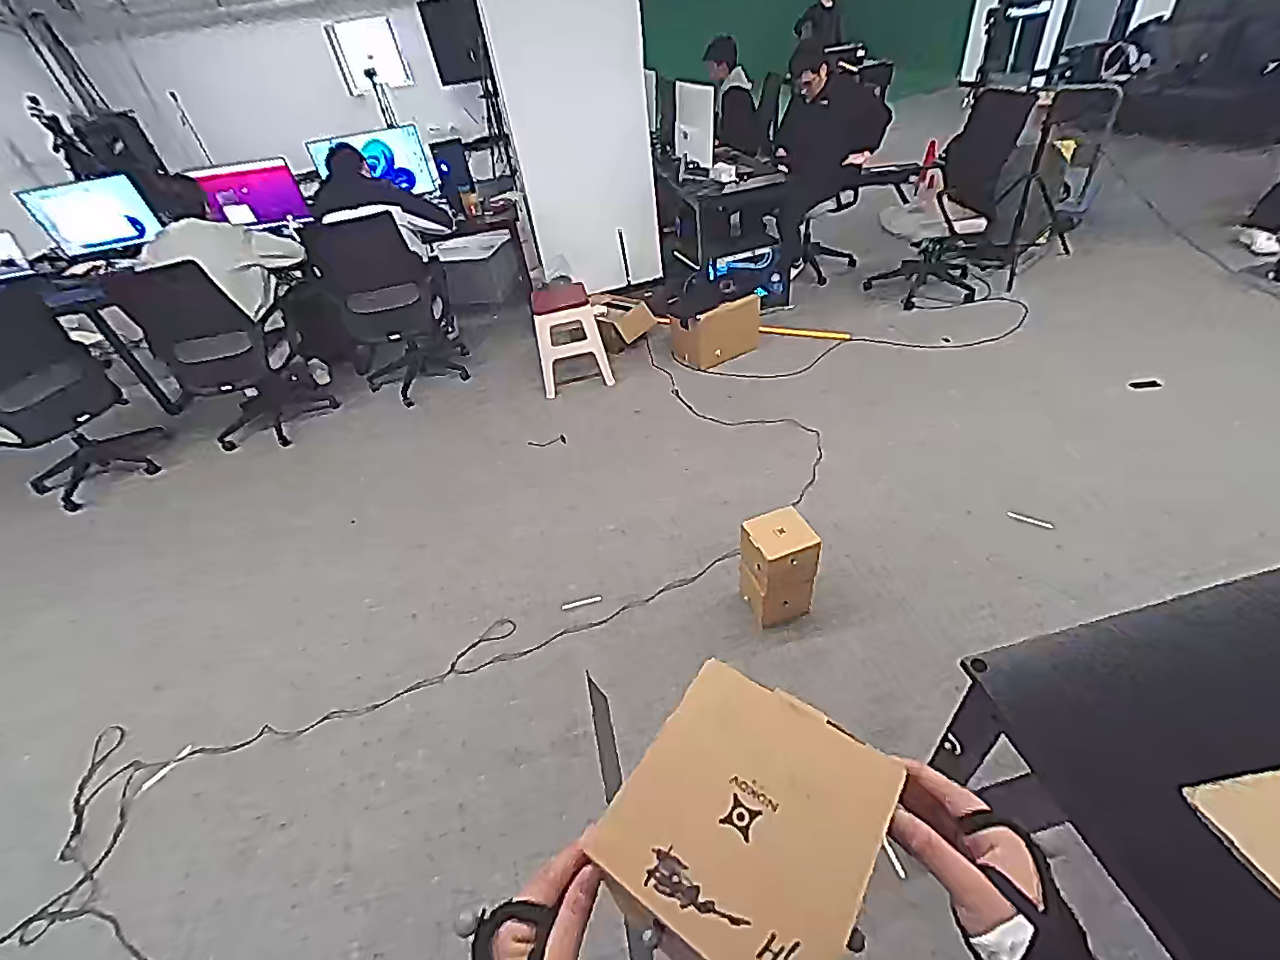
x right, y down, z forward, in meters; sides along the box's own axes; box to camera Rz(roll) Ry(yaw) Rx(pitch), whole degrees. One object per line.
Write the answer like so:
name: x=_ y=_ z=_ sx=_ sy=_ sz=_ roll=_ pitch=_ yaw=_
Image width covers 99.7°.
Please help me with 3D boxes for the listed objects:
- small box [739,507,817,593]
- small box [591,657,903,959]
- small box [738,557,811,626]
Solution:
small box: x=0.415 y=0.216 z=1.647 sx=0.179 sy=0.176 sz=0.168 roll=-17 pitch=42 yaw=-11
small box: x=0.086 y=0.289 z=0.436 sx=0.168 sy=0.176 sz=0.179 roll=21 pitch=48 yaw=31
small box: x=0.429 y=0.340 z=1.751 sx=0.179 sy=0.176 sz=0.168 roll=-17 pitch=41 yaw=-8
